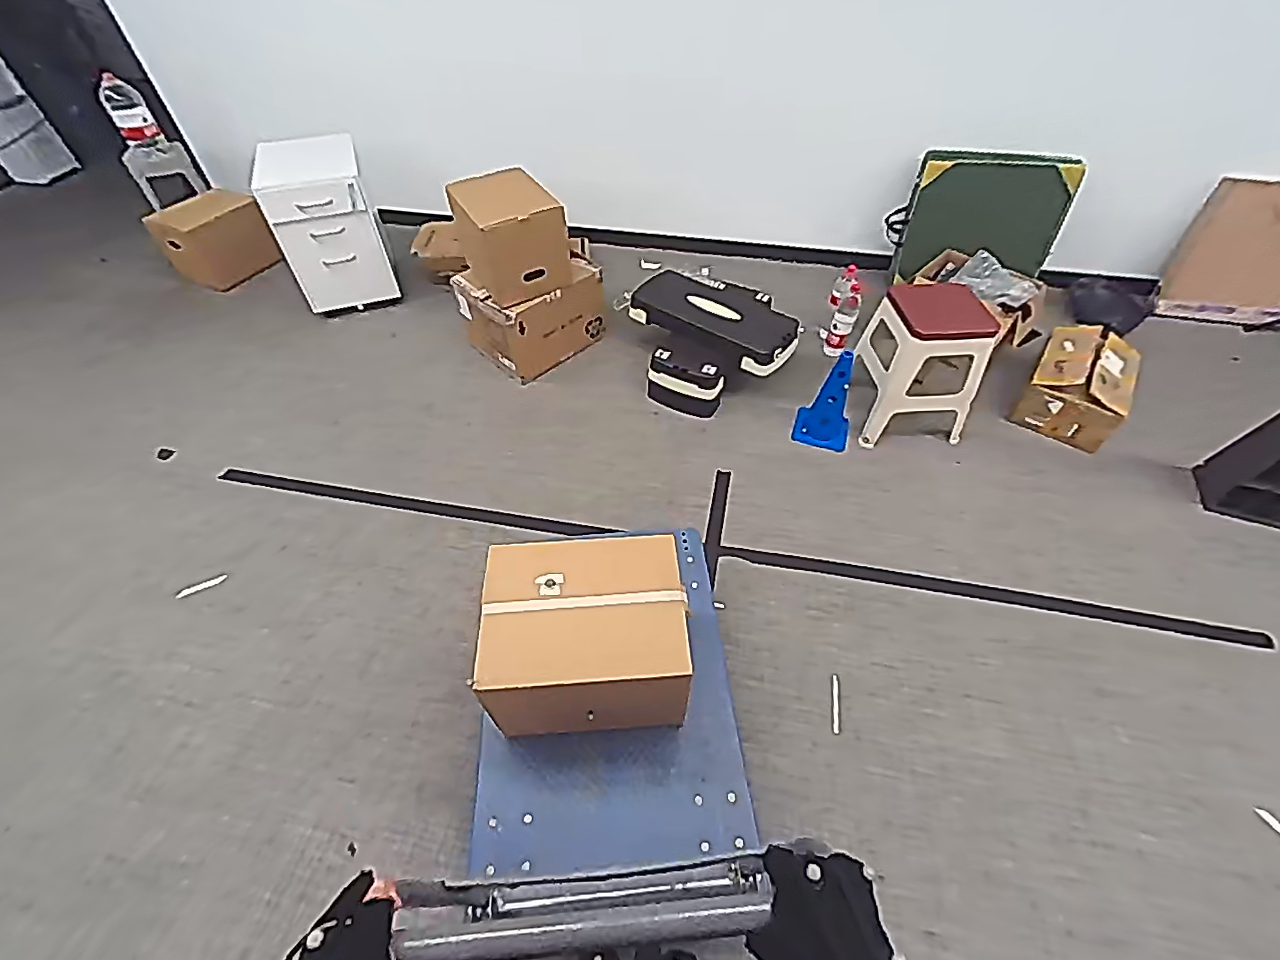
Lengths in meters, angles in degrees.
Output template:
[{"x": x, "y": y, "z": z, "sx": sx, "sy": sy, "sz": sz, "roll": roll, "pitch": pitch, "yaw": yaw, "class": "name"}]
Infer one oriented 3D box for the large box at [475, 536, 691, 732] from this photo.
[{"x": -0.111, "y": 0.347, "z": 1.199, "sx": 0.408, "sy": 0.320, "sz": 0.320, "roll": -3, "pitch": 50, "yaw": -2, "class": "large box"}]
